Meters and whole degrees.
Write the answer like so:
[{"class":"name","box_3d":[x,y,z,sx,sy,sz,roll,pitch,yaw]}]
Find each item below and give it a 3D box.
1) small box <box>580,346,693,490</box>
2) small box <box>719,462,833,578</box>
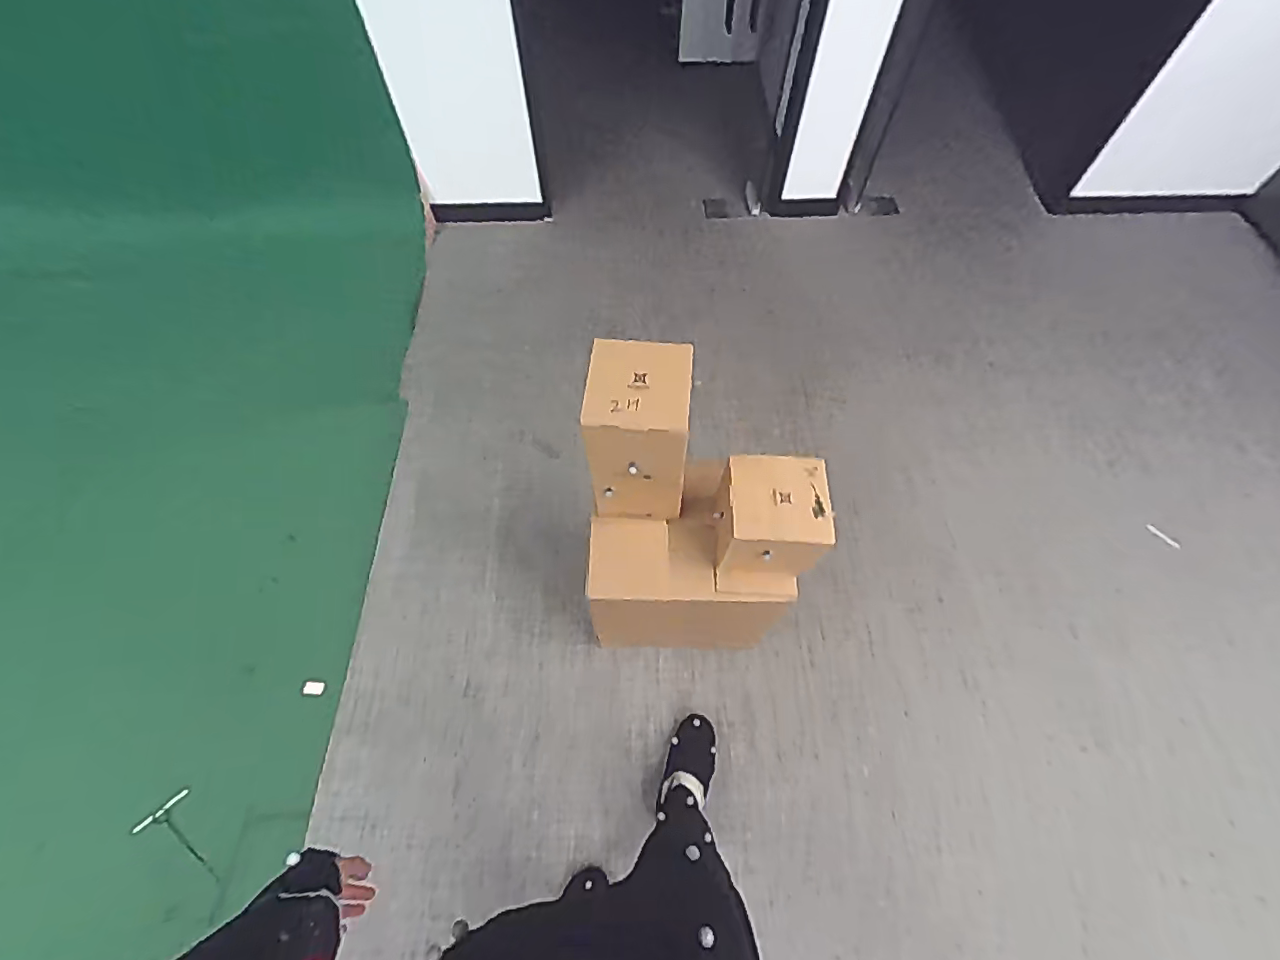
[{"class":"small box","box_3d":[-0.002,-0.103,0.924,0.168,0.176,0.179,5,61,4]},{"class":"small box","box_3d":[0.240,0.079,1.008,0.179,0.176,0.168,3,63,2]}]
